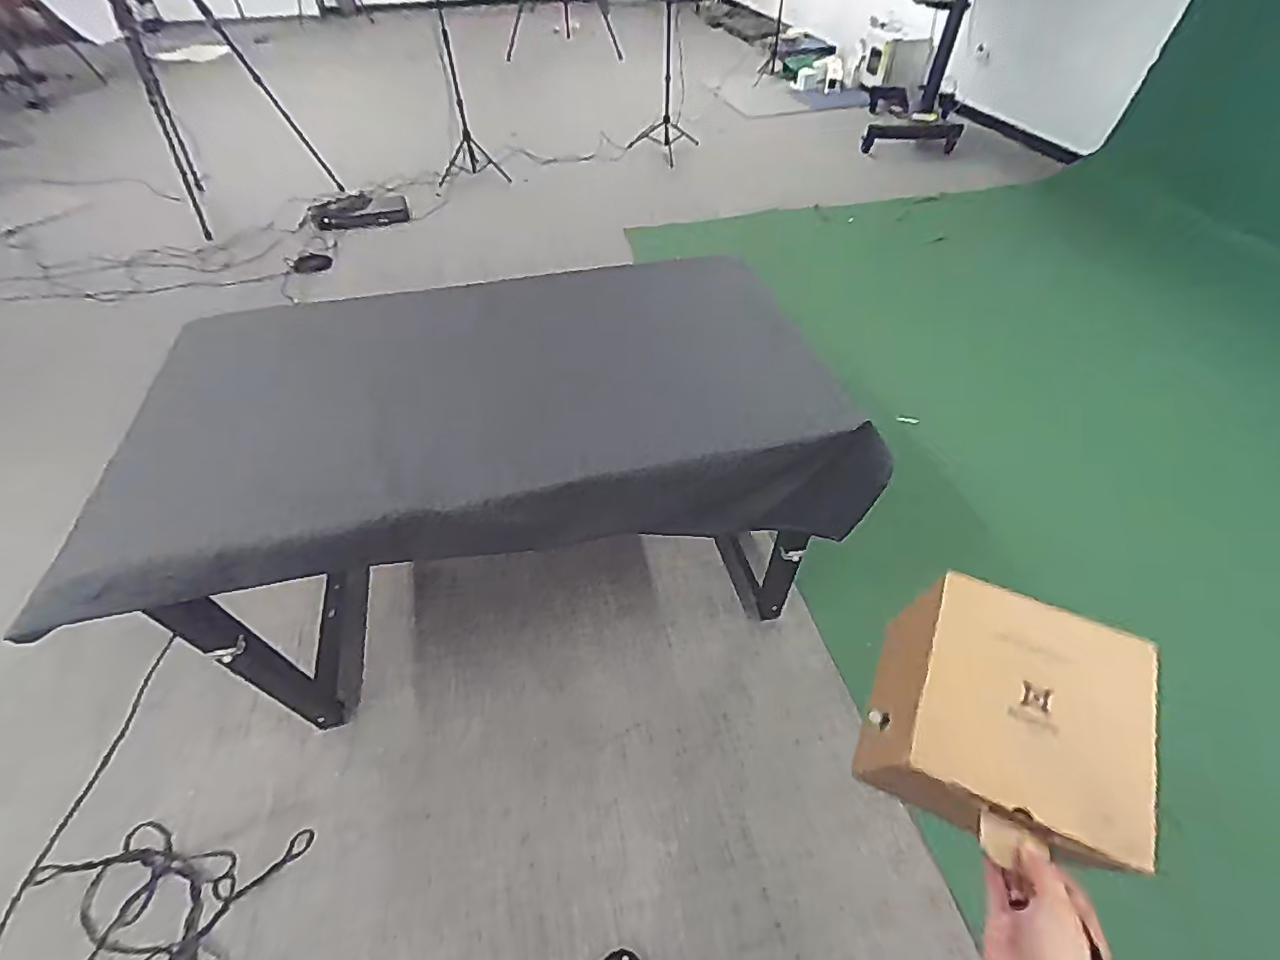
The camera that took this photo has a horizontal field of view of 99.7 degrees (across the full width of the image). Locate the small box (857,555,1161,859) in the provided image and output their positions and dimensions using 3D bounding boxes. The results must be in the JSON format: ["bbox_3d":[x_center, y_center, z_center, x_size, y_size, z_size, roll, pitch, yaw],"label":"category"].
[{"bbox_3d":[0.314,0.202,0.490,0.168,0.176,0.179,20,62,14],"label":"small box"}]
